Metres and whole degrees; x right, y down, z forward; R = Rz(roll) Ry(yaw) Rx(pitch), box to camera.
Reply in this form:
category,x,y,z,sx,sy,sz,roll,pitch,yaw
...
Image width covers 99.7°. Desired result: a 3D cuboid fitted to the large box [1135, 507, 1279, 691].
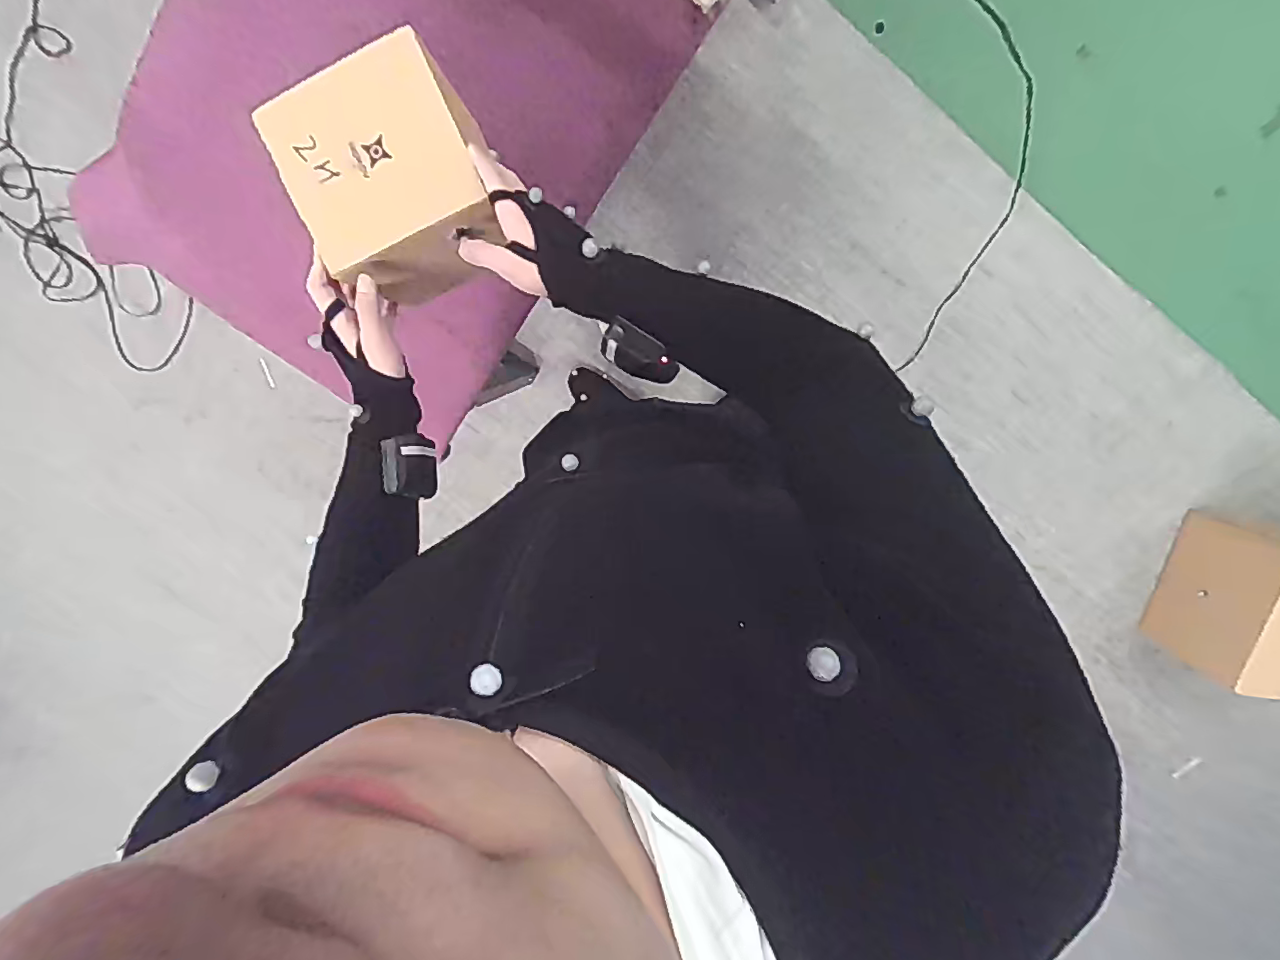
category,x,y,z,sx,sy,sz,roll,pitch,yaw
large box,1.699,0.322,1.492,0.320,0.320,0.408,6,106,2

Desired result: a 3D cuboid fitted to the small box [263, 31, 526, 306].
category,x,y,z,sx,sy,sz,roll,pitch,yaw
small box,-0.238,-0.309,0.581,0.179,0.176,0.168,-23,95,5
